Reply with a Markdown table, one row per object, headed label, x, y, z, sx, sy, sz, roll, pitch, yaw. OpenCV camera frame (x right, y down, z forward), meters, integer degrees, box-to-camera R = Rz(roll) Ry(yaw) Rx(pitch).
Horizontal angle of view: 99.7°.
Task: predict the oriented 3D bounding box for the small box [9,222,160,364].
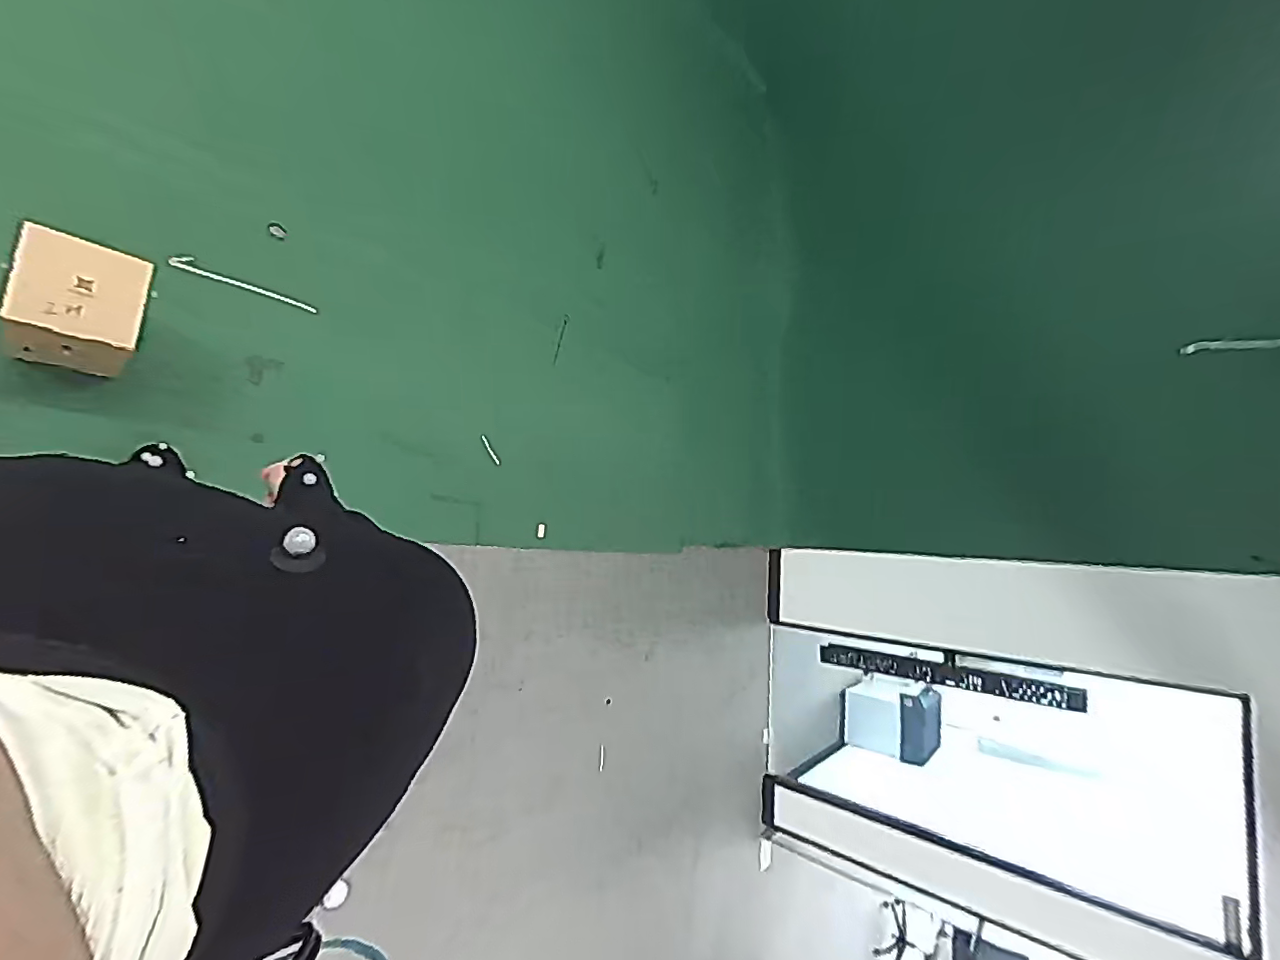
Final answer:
| label | x | y | z | sx | sy | sz | roll | pitch | yaw |
| --- | --- | --- | --- | --- | --- | --- | --- | --- | --- |
| small box | -1.030 | -0.333 | 1.005 | 0.168 | 0.176 | 0.179 | 14 | 78 | -47 |
